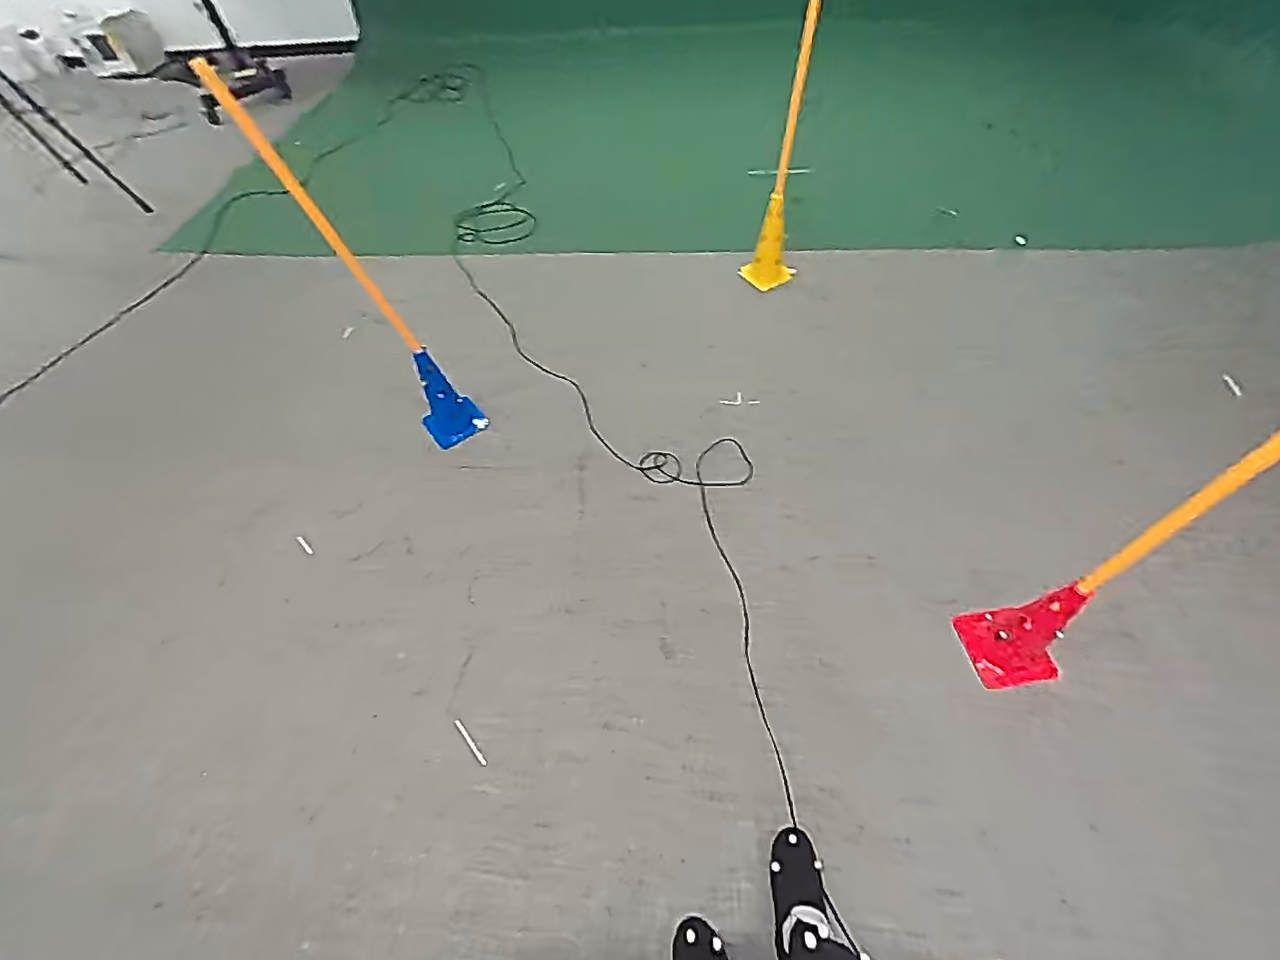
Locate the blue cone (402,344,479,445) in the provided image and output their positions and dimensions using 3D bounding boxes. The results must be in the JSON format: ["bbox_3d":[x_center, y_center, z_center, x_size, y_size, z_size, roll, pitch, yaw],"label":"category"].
[{"bbox_3d":[-0.720,-0.311,1.869,0.193,0.380,0.192,-37,61,-18],"label":"blue cone"}]
